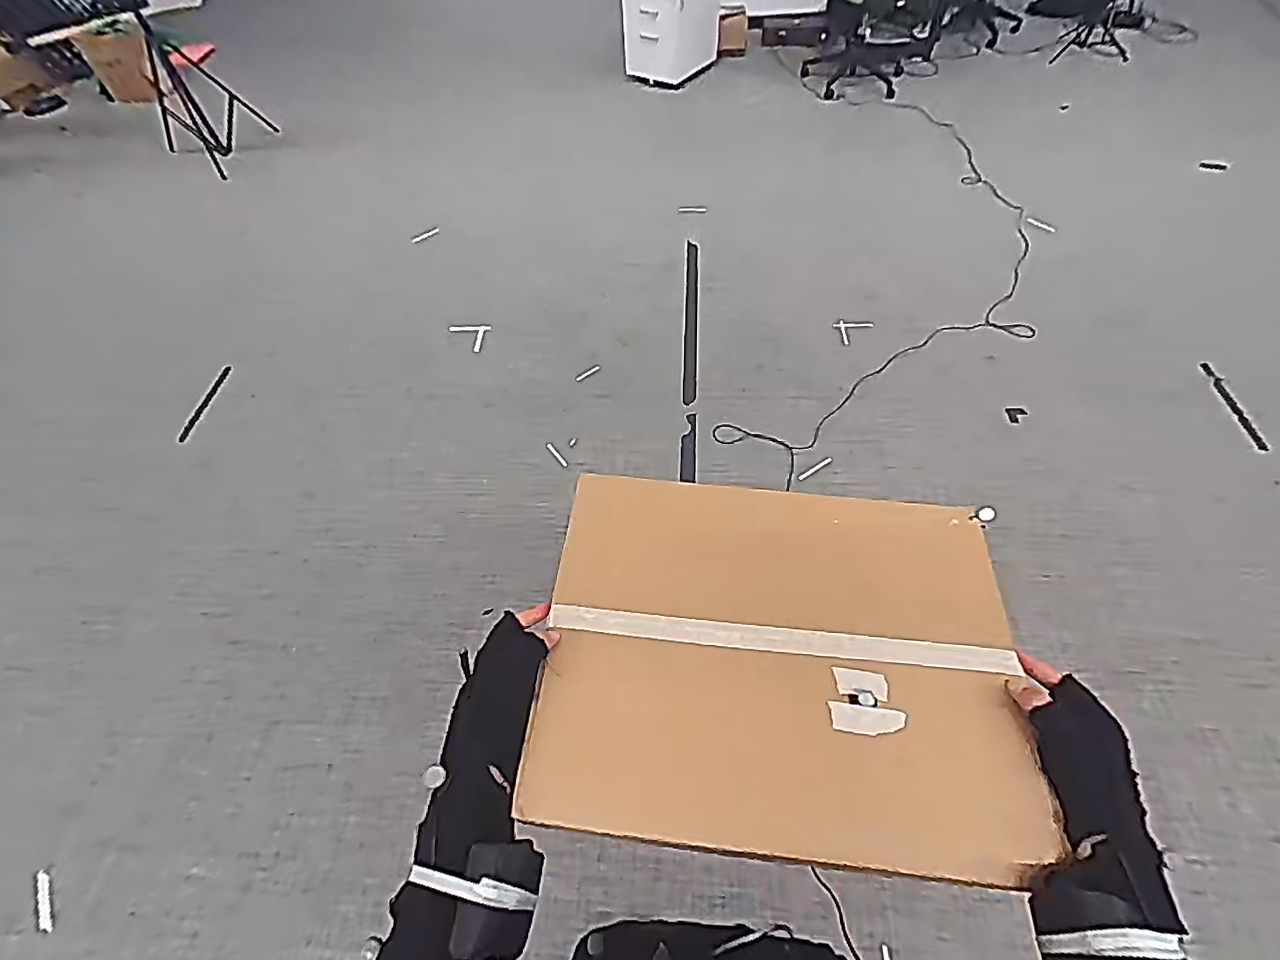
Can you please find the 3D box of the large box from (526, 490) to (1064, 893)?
[{"bbox_3d":[0.122,0.235,0.602,0.408,0.320,0.320,6,57,4],"label":"large box"}]
